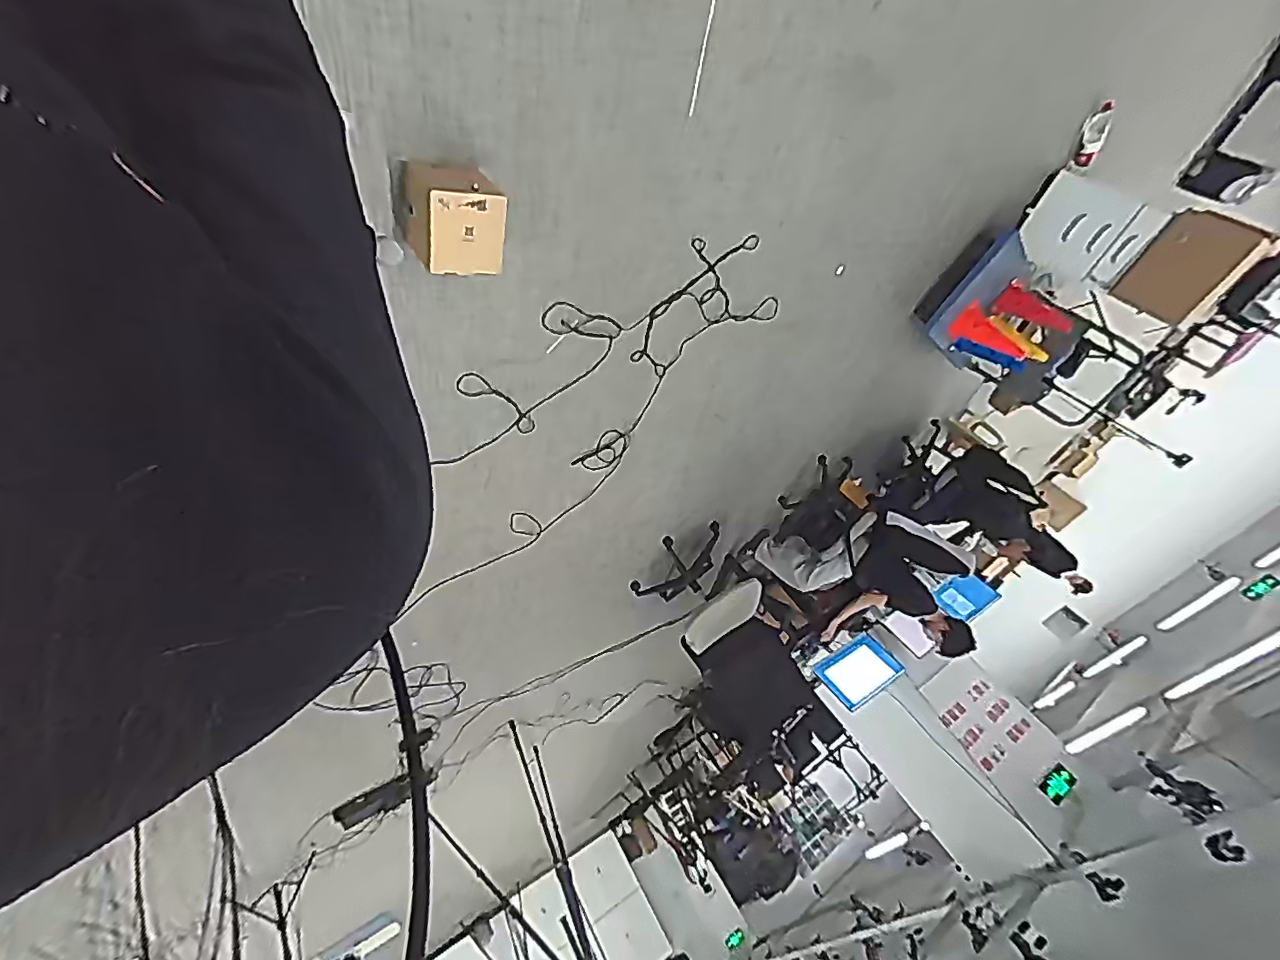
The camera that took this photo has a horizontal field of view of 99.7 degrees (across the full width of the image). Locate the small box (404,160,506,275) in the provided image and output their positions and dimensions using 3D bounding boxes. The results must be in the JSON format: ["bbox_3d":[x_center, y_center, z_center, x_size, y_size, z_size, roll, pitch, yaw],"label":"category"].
[{"bbox_3d":[-0.419,-0.583,1.210,0.168,0.176,0.179,-14,141,-34],"label":"small box"}]
